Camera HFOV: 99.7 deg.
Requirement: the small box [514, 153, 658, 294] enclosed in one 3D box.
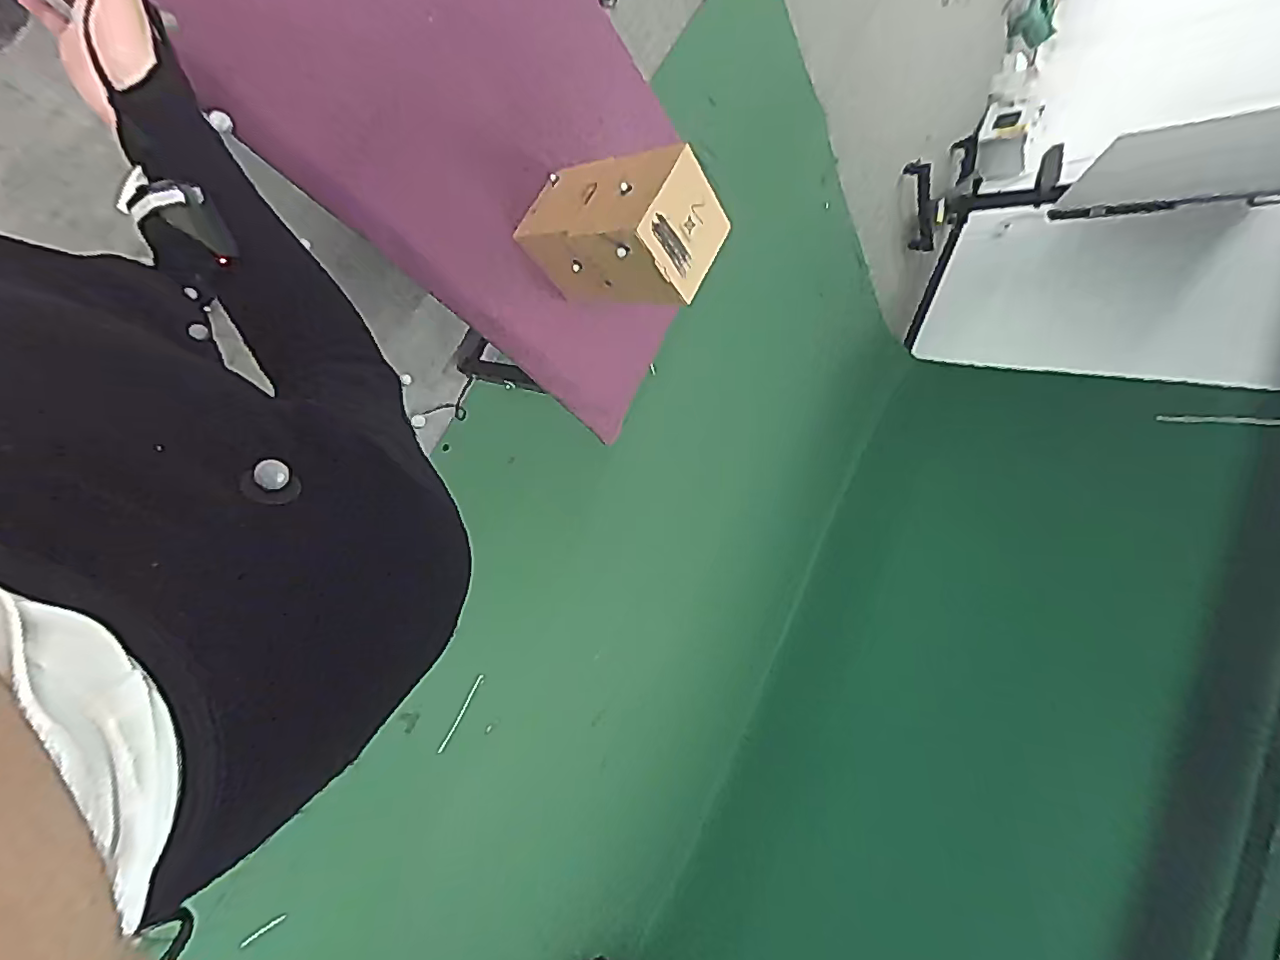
[{"bbox_3d":[-0.104,-0.472,1.022,0.179,0.176,0.168,41,73,-48],"label":"small box"}]
